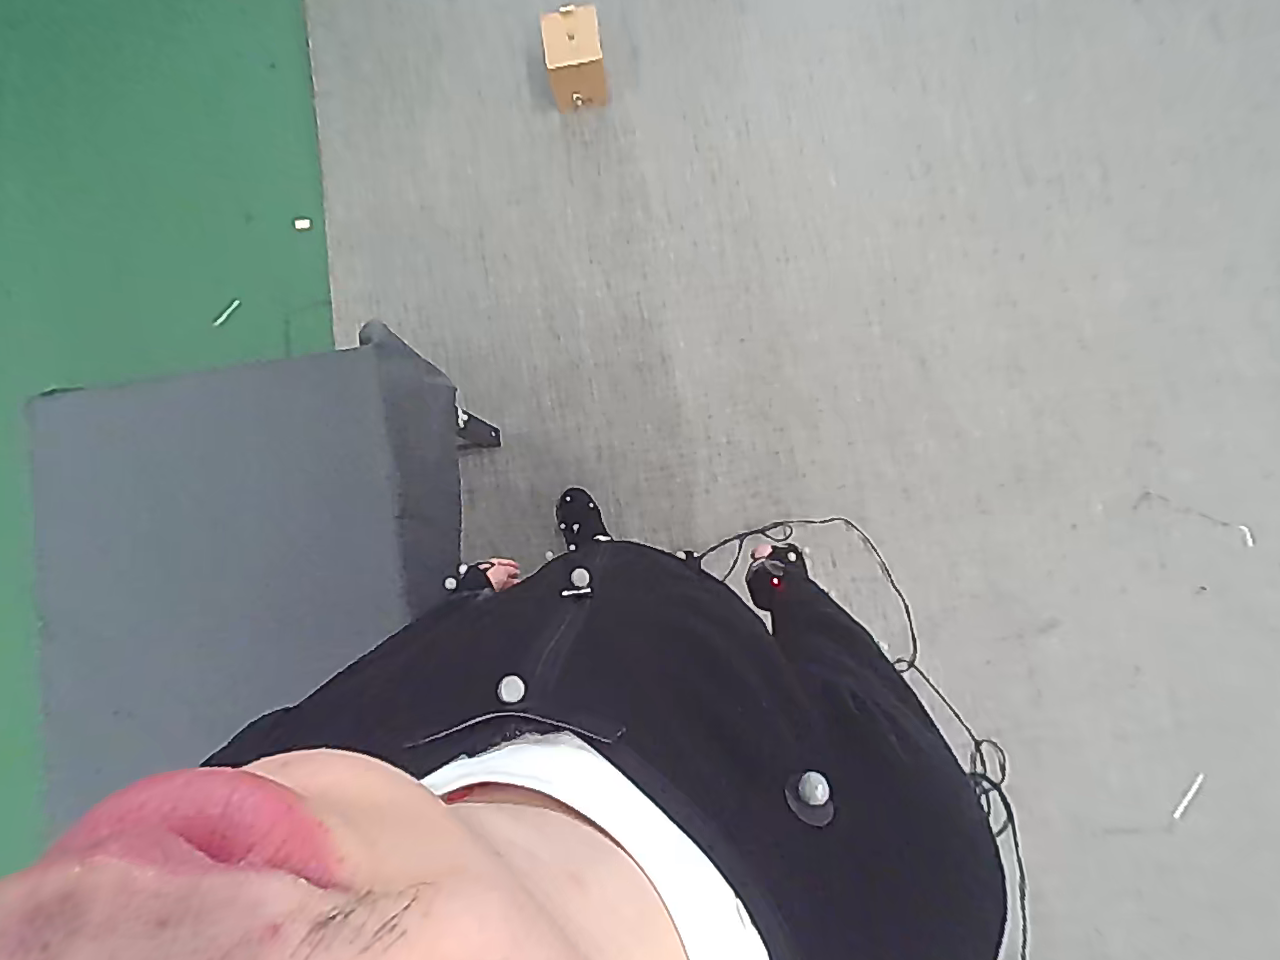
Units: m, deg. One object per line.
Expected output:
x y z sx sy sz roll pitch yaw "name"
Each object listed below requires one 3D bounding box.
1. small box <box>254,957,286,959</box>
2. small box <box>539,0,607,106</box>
-0.599 0.811 0.749 0.168 0.176 0.179 -9 84 2 "small box"
-0.197 -1.269 1.616 0.168 0.176 0.179 -6 85 4 "small box"
